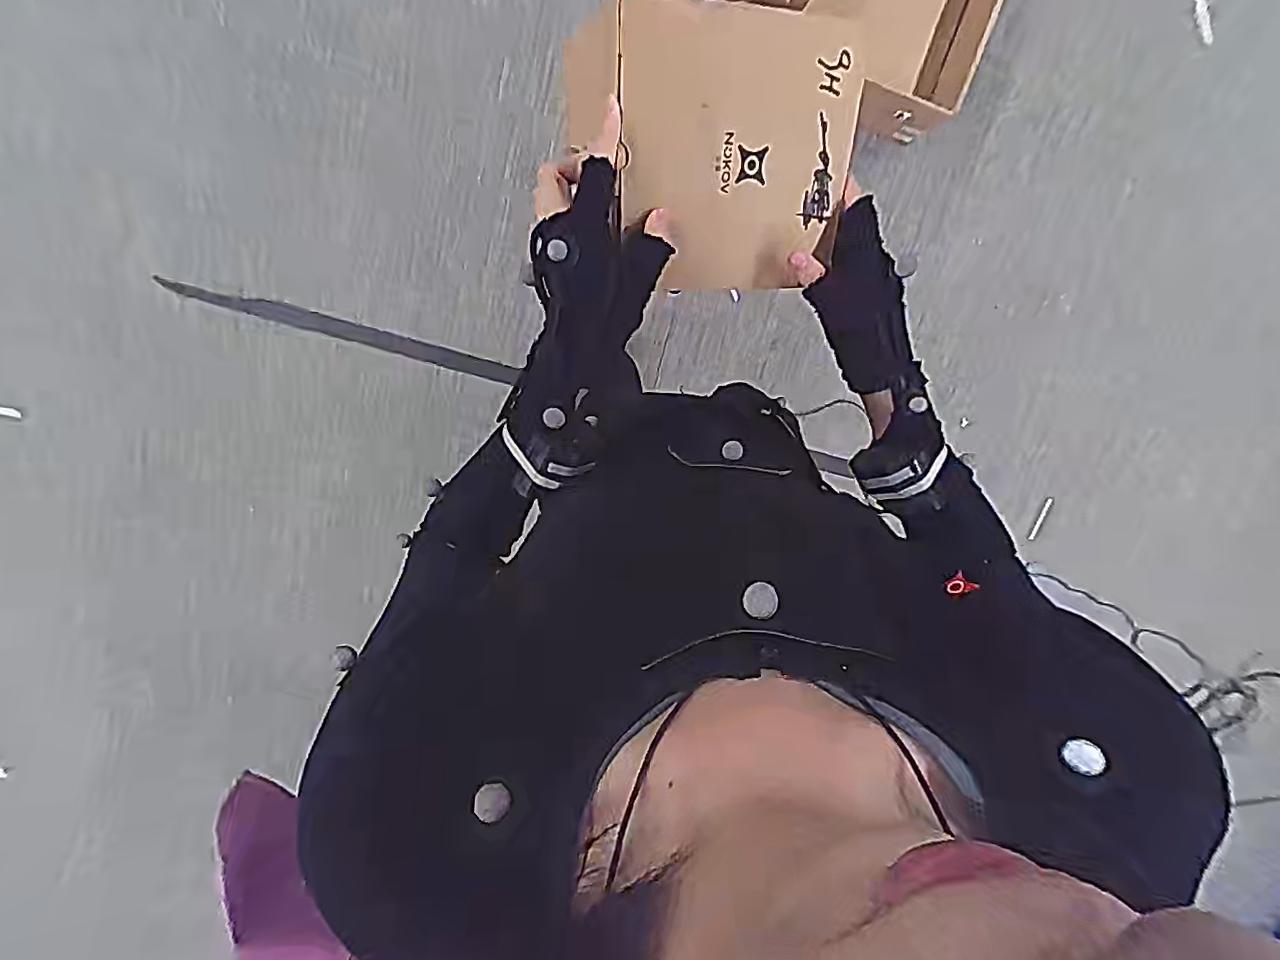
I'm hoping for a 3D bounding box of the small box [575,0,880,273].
[{"bbox_3d":[0.046,-0.259,0.426,0.179,0.176,0.168,-6,118,-16],"label":"small box"}]
